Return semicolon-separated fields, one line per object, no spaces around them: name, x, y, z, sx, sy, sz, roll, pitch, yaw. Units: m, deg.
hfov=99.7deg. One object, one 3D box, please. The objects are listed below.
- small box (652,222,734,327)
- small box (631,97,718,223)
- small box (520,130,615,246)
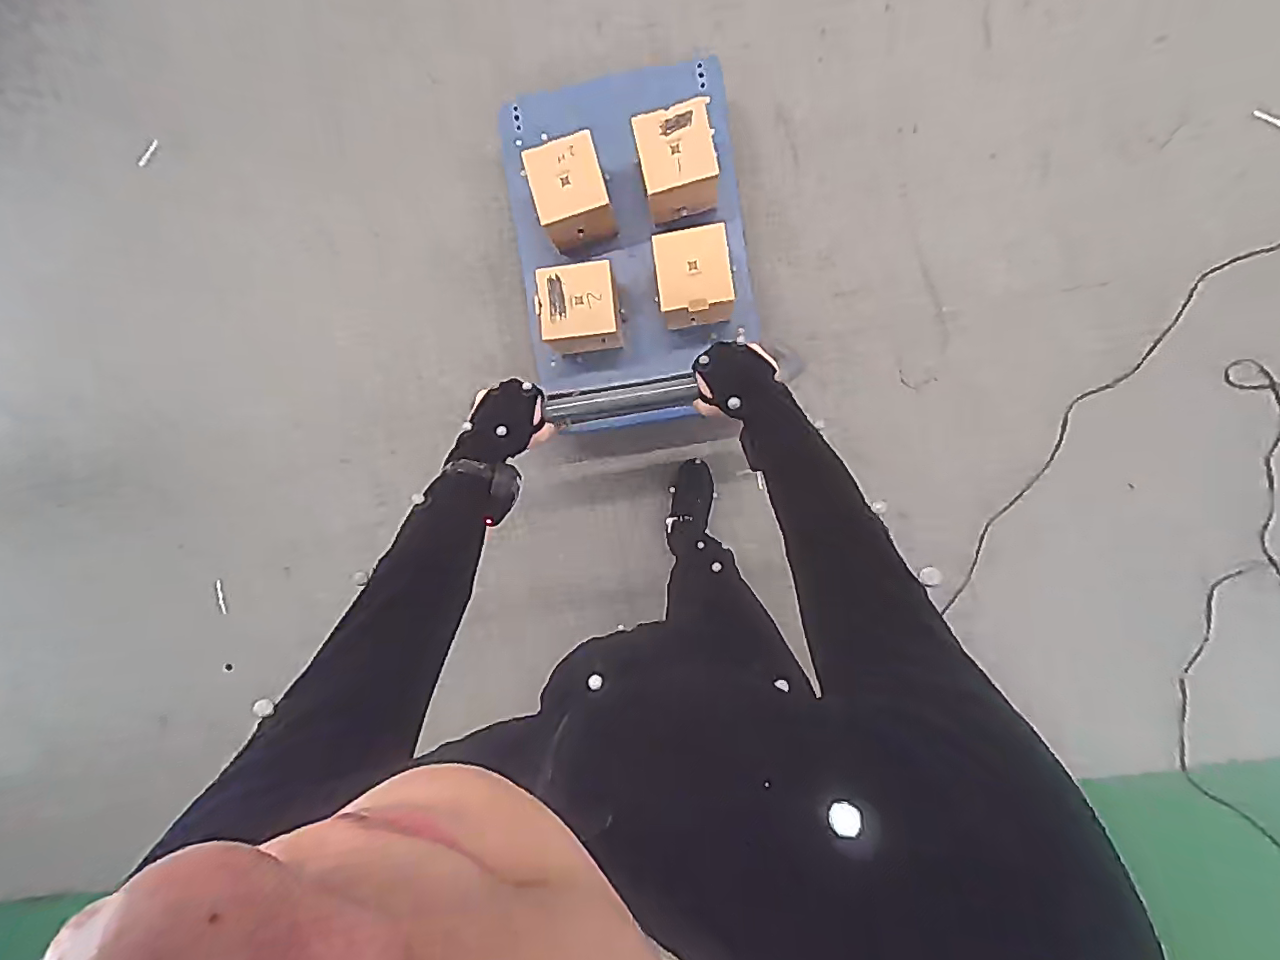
small box;0.124;-0.479;1.284;0.168;0.176;0.179;-8;92;6
small box;0.082;-0.744;1.275;0.168;0.176;0.179;-13;92;7
small box;-0.166;-0.688;1.302;0.168;0.176;0.179;-15;91;5
